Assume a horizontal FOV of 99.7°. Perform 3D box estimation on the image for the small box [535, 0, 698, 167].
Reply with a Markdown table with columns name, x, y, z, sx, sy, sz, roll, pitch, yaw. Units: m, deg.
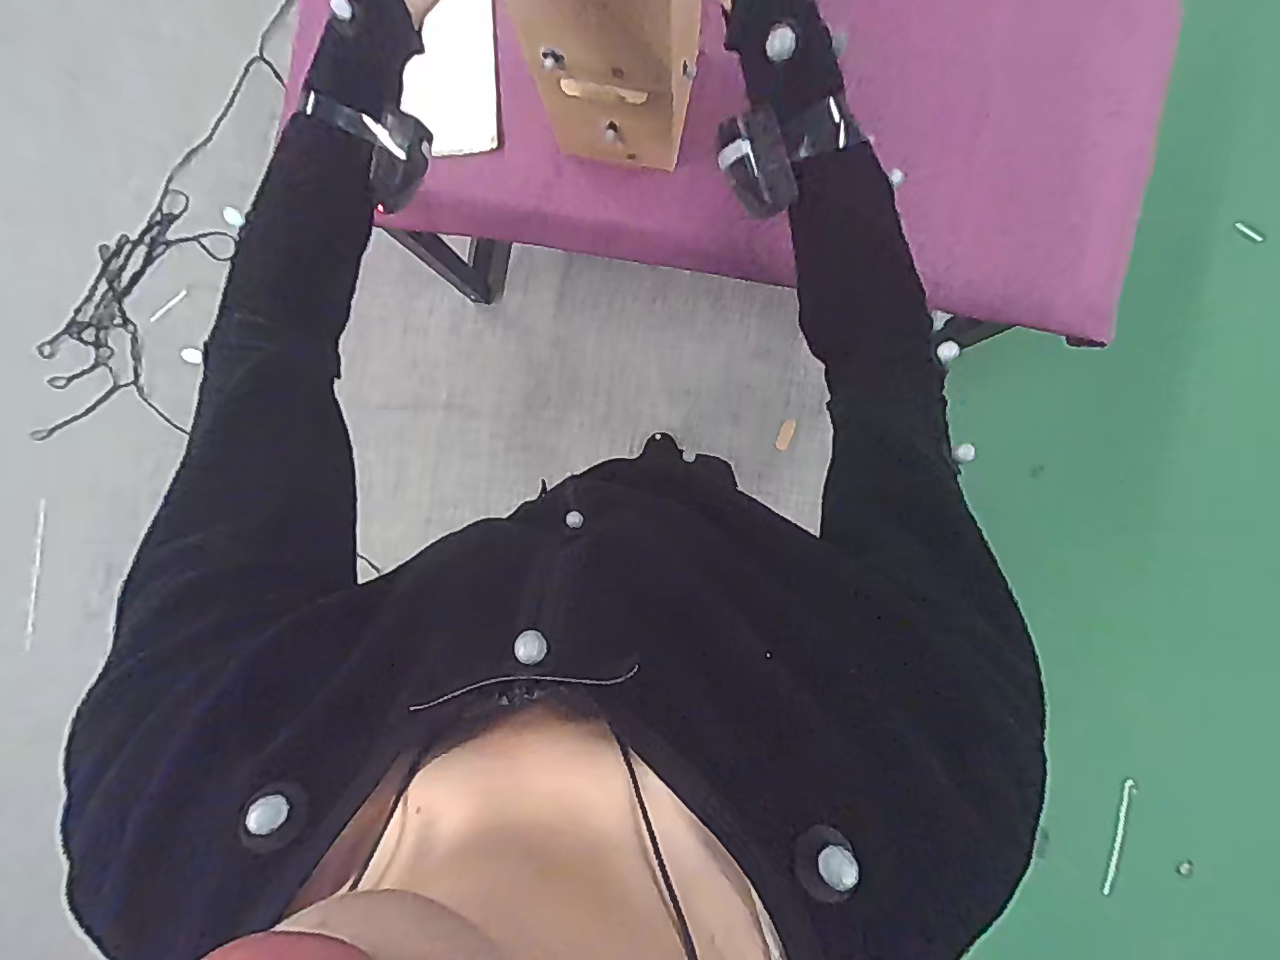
| name | x | y | z | sx | sy | sz | roll | pitch | yaw |
| --- | --- | --- | --- | --- | --- | --- | --- | --- | --- |
| small box | -0.020 | -0.536 | 0.690 | 0.168 | 0.176 | 0.179 | 11 | 92 | 3 |

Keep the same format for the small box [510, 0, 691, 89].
| name | x | y | z | sx | sy | sz | roll | pitch | yaw |
| --- | --- | --- | --- | --- | --- | --- | --- | --- | --- |
| small box | -0.031 | -0.528 | 0.525 | 0.168 | 0.176 | 0.179 | 12 | 90 | 3 |
